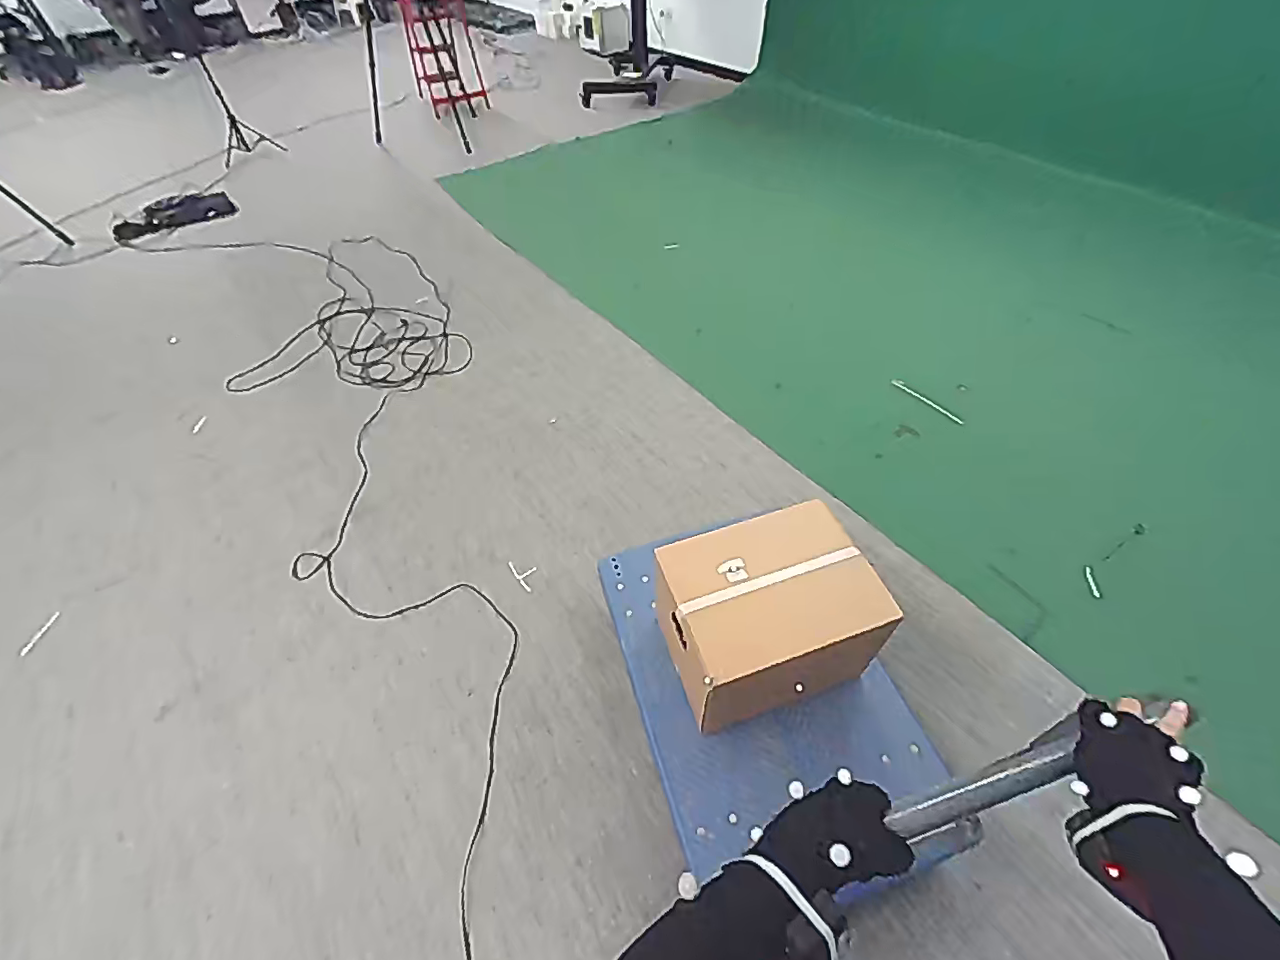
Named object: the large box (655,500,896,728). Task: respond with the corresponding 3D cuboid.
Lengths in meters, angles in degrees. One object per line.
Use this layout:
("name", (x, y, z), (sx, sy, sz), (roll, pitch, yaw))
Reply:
("large box", (0.274, 0.303, 1.222), (0.408, 0.320, 0.320), (-17, 51, -10))
